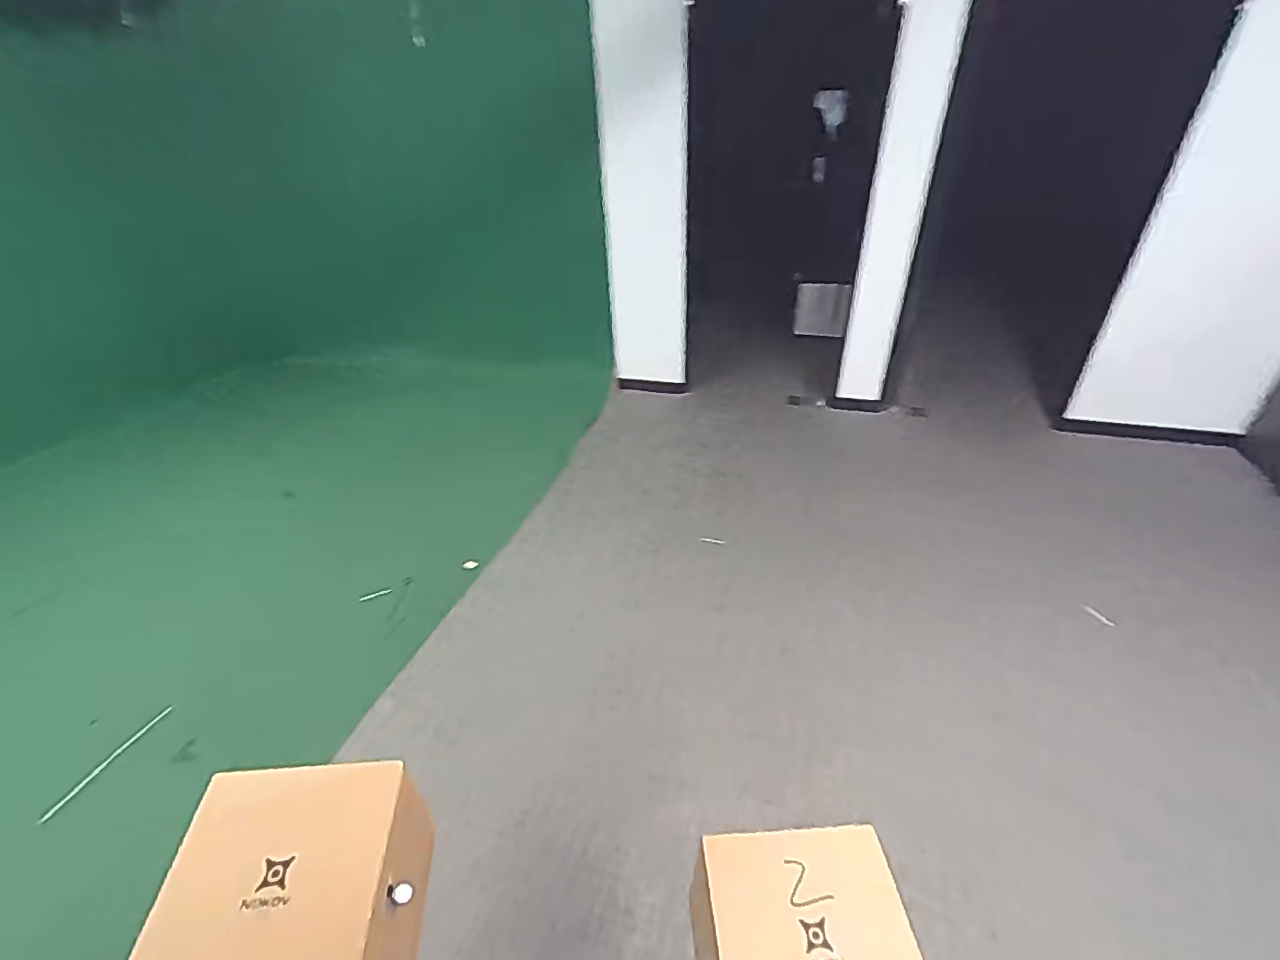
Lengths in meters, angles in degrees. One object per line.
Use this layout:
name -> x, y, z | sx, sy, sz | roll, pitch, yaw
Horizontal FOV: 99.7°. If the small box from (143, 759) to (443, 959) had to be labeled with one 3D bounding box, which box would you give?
small box -> -0.285, 0.376, 0.484 | 0.168, 0.176, 0.179 | 0, 42, -5
